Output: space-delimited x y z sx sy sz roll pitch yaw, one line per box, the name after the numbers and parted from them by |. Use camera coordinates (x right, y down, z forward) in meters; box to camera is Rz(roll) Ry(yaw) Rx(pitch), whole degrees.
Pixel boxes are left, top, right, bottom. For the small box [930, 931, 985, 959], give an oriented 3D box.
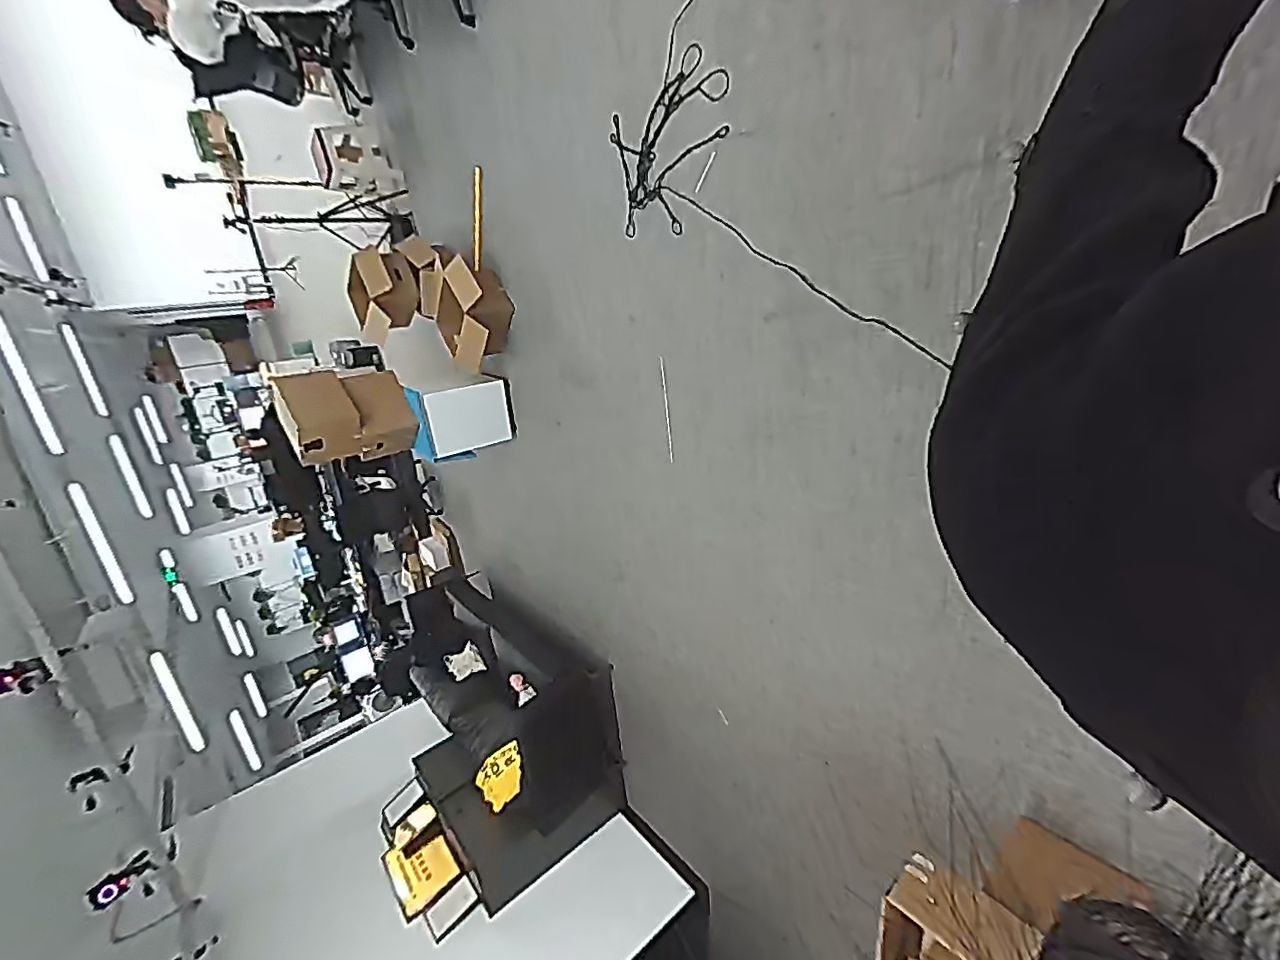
0.793 1.279 1.330 0.168 0.176 0.179 26 125 47 | small box
